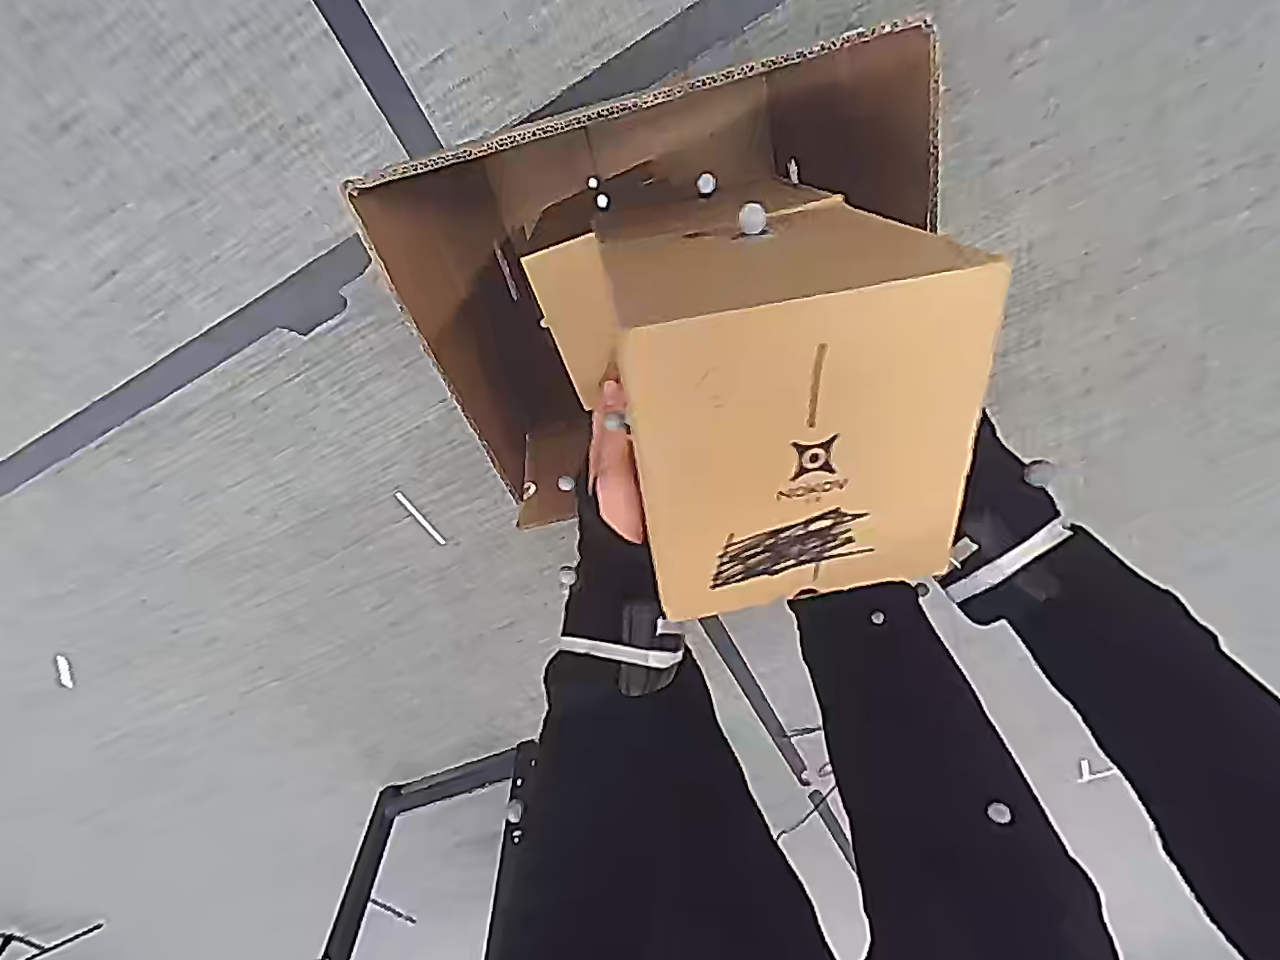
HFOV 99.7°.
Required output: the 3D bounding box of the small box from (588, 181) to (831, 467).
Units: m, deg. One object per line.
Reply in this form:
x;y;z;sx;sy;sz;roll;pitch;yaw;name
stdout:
0.055;-0.141;0.474;0.168;0.176;0.179;-14;124;1;small box
